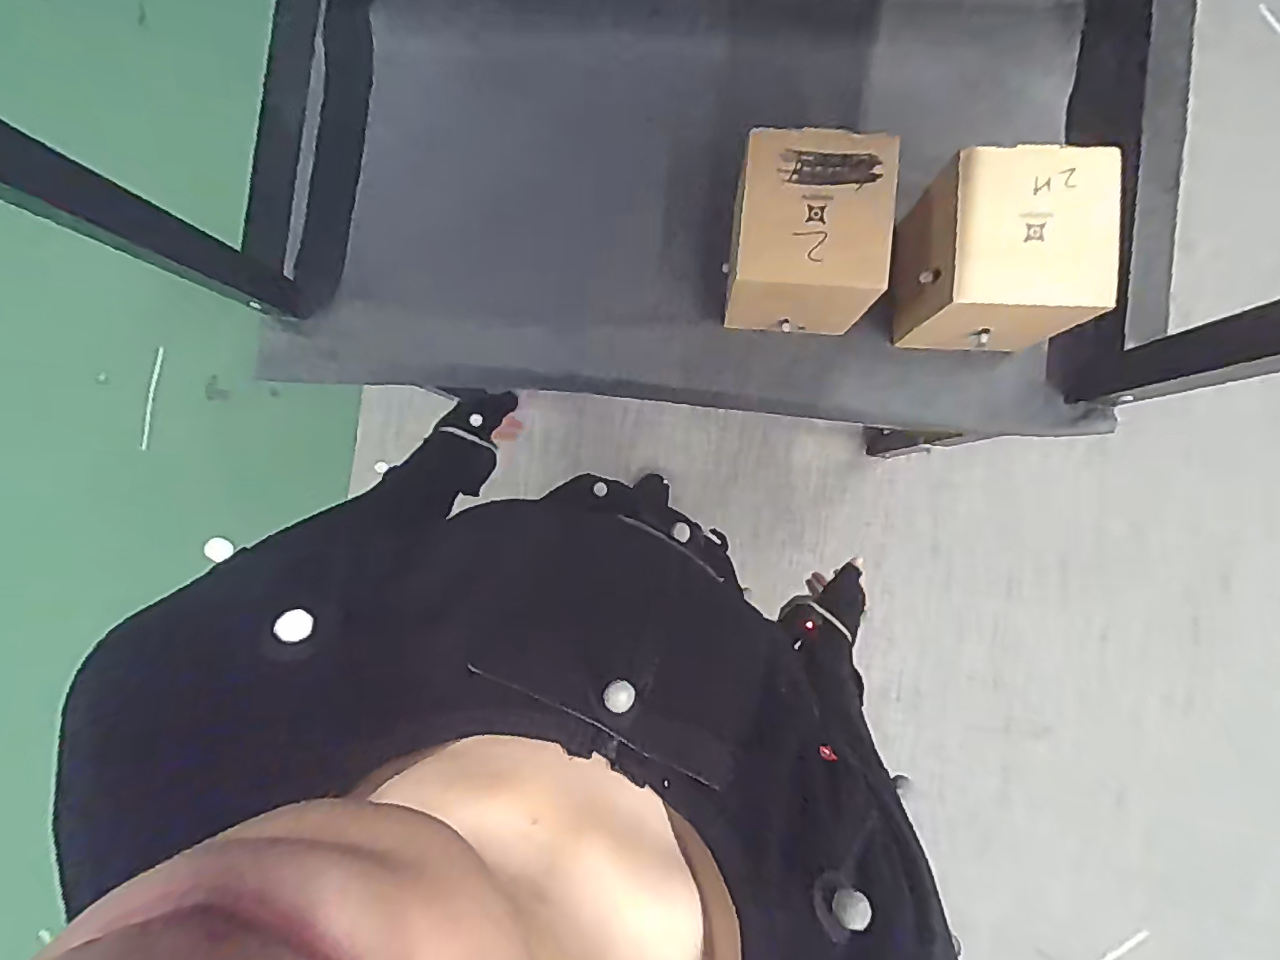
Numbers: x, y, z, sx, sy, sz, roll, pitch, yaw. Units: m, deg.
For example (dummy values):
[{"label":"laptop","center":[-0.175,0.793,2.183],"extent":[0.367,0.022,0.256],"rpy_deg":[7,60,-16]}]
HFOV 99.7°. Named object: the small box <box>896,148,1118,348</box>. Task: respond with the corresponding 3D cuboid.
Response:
[{"label":"small box","center":[0.429,-0.268,0.660],"extent":[0.168,0.176,0.179],"rpy_deg":[3,87,4]}]
